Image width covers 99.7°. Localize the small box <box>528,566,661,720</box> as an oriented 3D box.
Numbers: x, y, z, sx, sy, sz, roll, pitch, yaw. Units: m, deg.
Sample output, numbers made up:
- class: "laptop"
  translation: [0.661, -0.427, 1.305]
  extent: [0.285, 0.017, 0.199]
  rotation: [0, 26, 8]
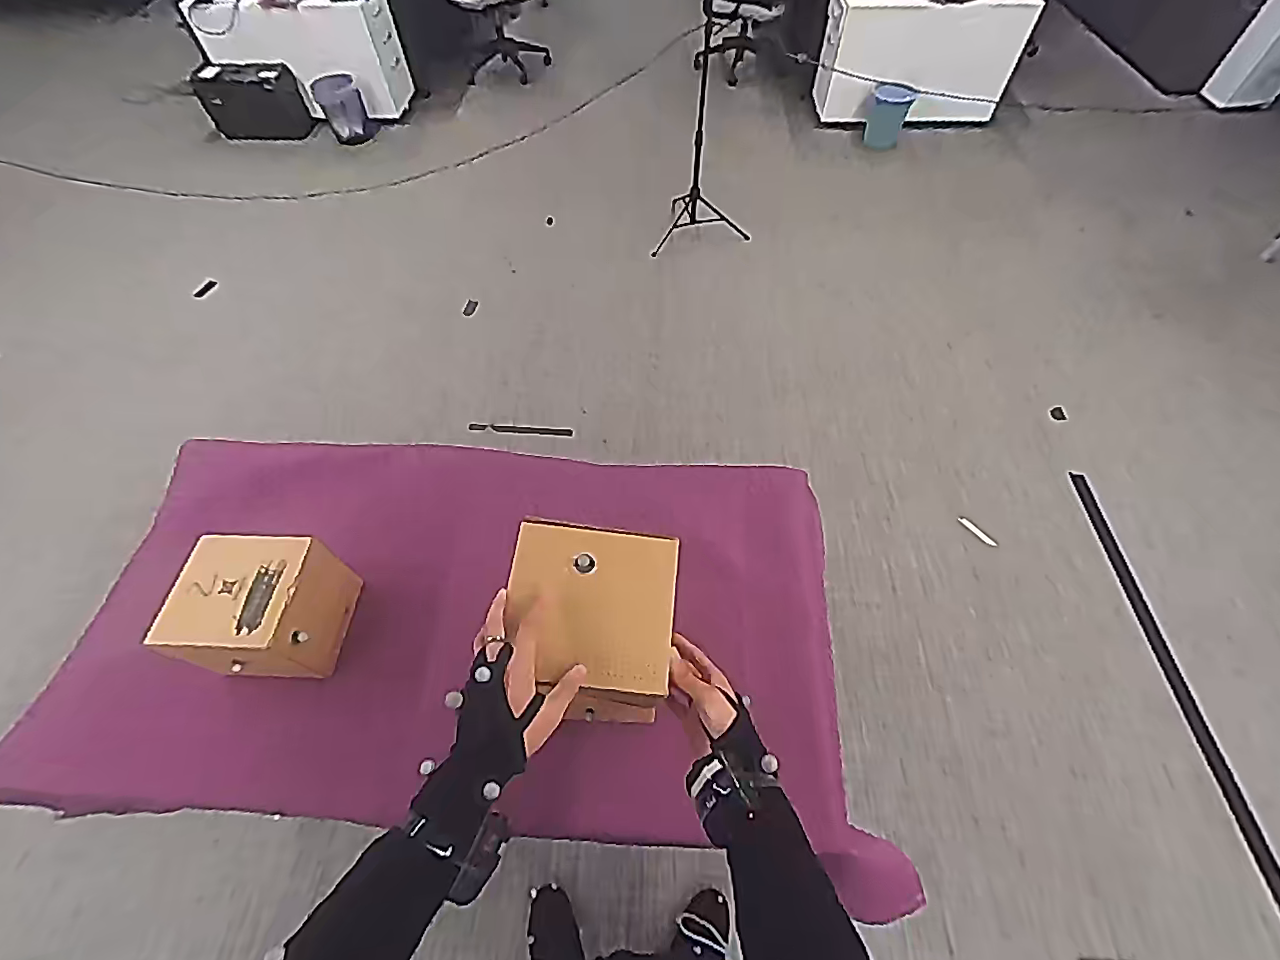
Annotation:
- class: "small box"
  translation: [-0.055, 0.244, 0.793]
  extent: [0.168, 0.176, 0.179]
  rotation: [3, 57, 2]
